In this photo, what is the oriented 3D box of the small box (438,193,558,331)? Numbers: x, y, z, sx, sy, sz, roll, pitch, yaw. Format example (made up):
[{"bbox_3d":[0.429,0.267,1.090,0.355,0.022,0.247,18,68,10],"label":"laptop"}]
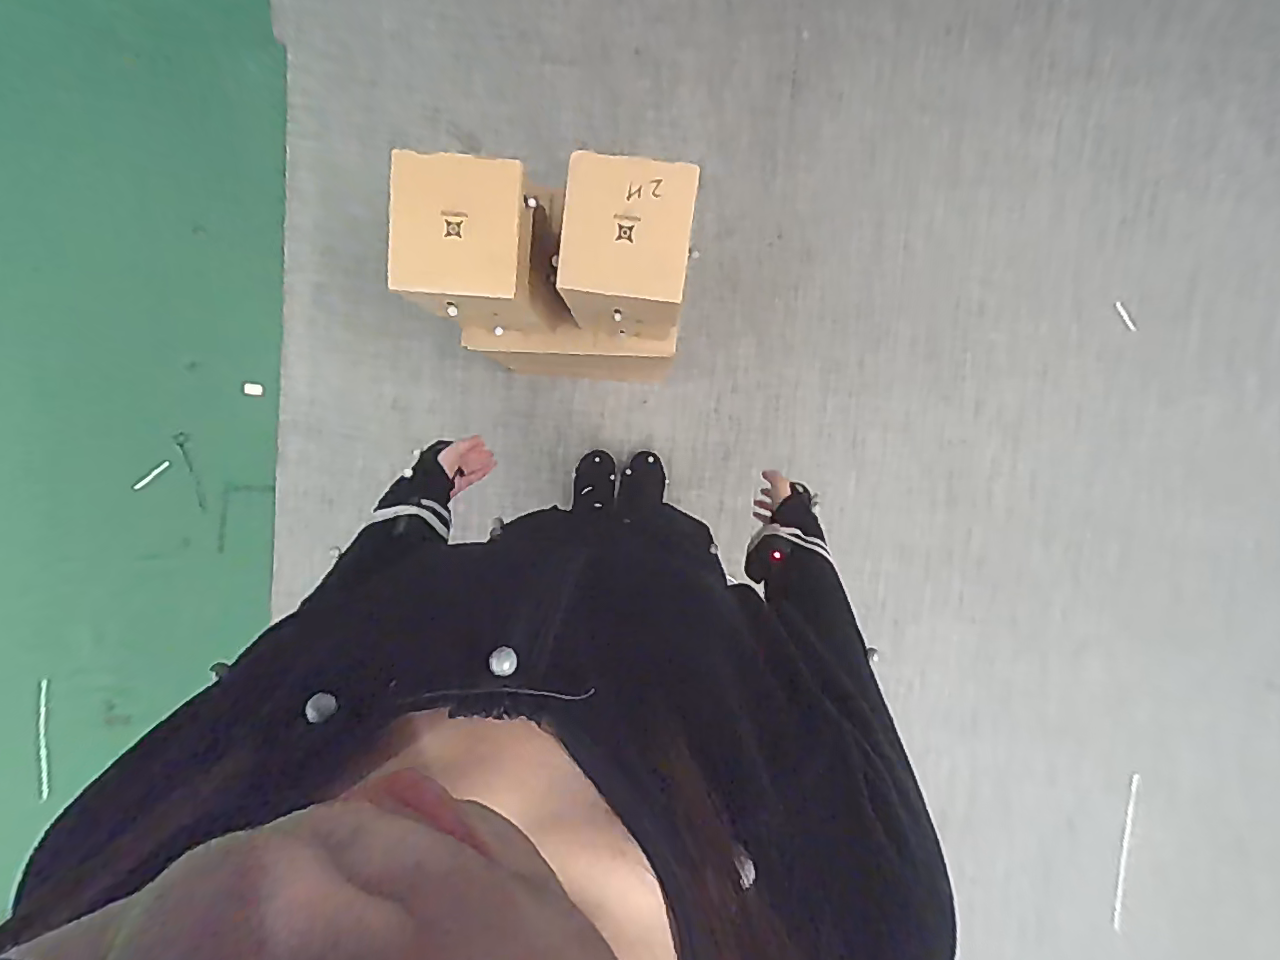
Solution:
[{"bbox_3d":[-0.238,-0.369,0.942,0.168,0.176,0.179,5,97,-2],"label":"small box"}]

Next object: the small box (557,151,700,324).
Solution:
[{"bbox_3d":[-0.013,-0.332,0.777,0.168,0.176,0.179,9,96,0],"label":"small box"}]
